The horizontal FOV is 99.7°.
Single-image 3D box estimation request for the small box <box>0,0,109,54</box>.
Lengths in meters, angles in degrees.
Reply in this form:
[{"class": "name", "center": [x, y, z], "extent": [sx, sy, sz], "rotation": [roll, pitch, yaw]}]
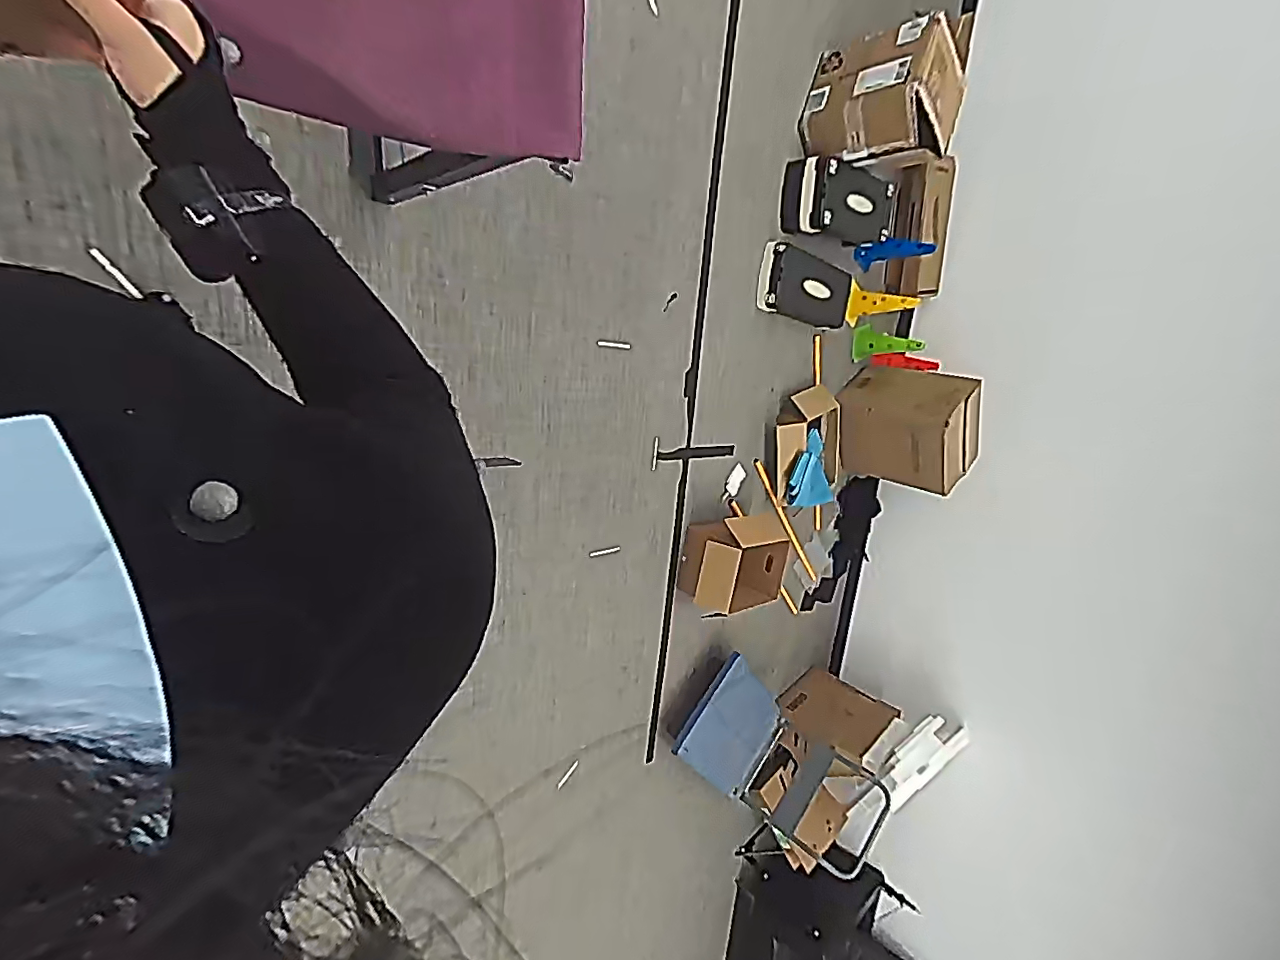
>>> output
[{"class": "small box", "center": [-0.458, -0.385, 0.313], "extent": [0.168, 0.176, 0.179], "rotation": [-19, 114, -31]}]
